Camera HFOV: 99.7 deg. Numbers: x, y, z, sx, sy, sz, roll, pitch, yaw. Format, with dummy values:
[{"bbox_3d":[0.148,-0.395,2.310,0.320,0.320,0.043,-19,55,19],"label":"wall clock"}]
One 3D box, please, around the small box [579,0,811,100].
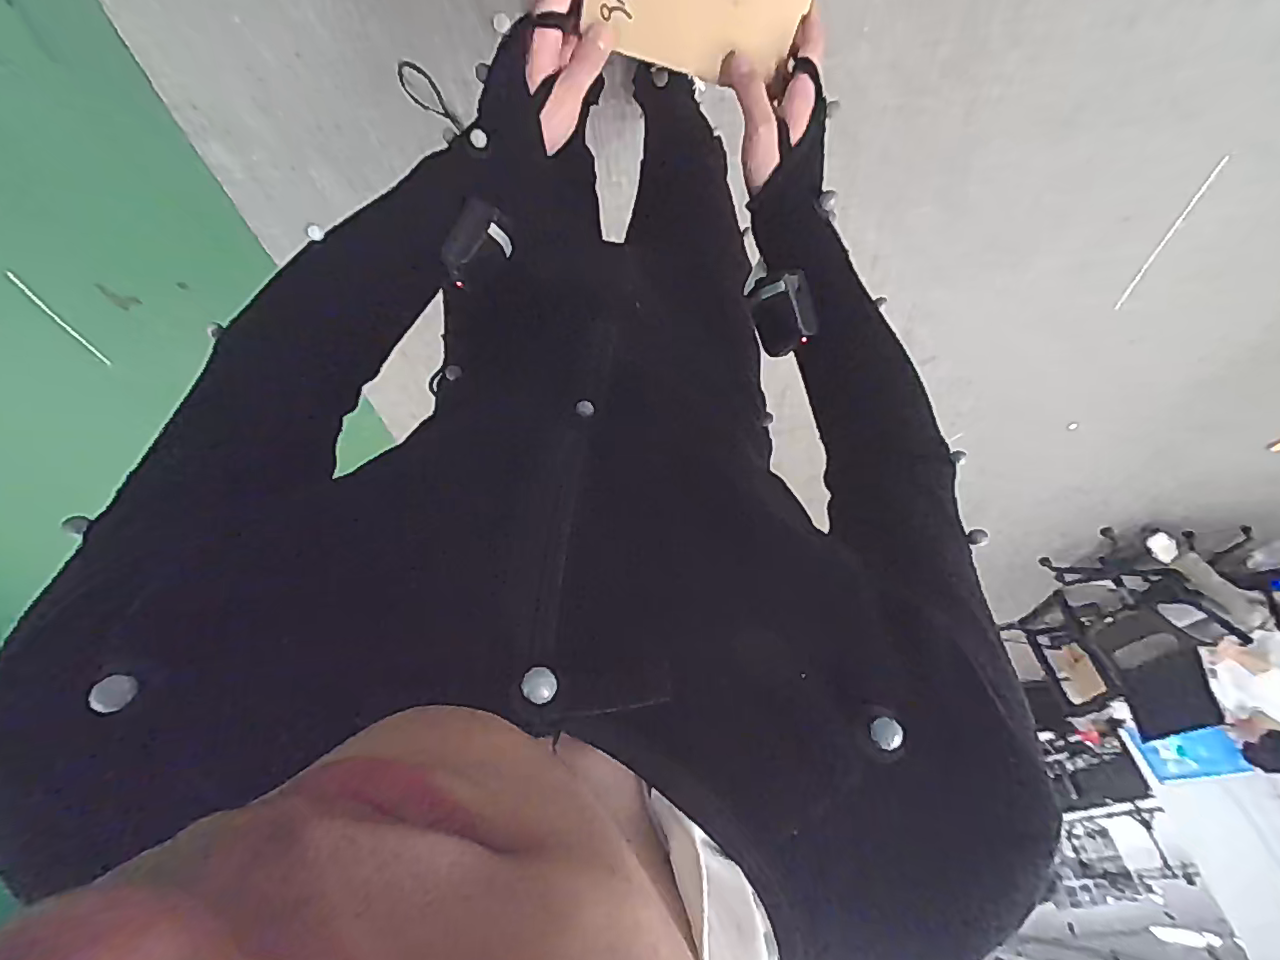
[{"bbox_3d":[0.048,-0.454,0.463,0.179,0.176,0.168,7,127,-13],"label":"small box"}]
